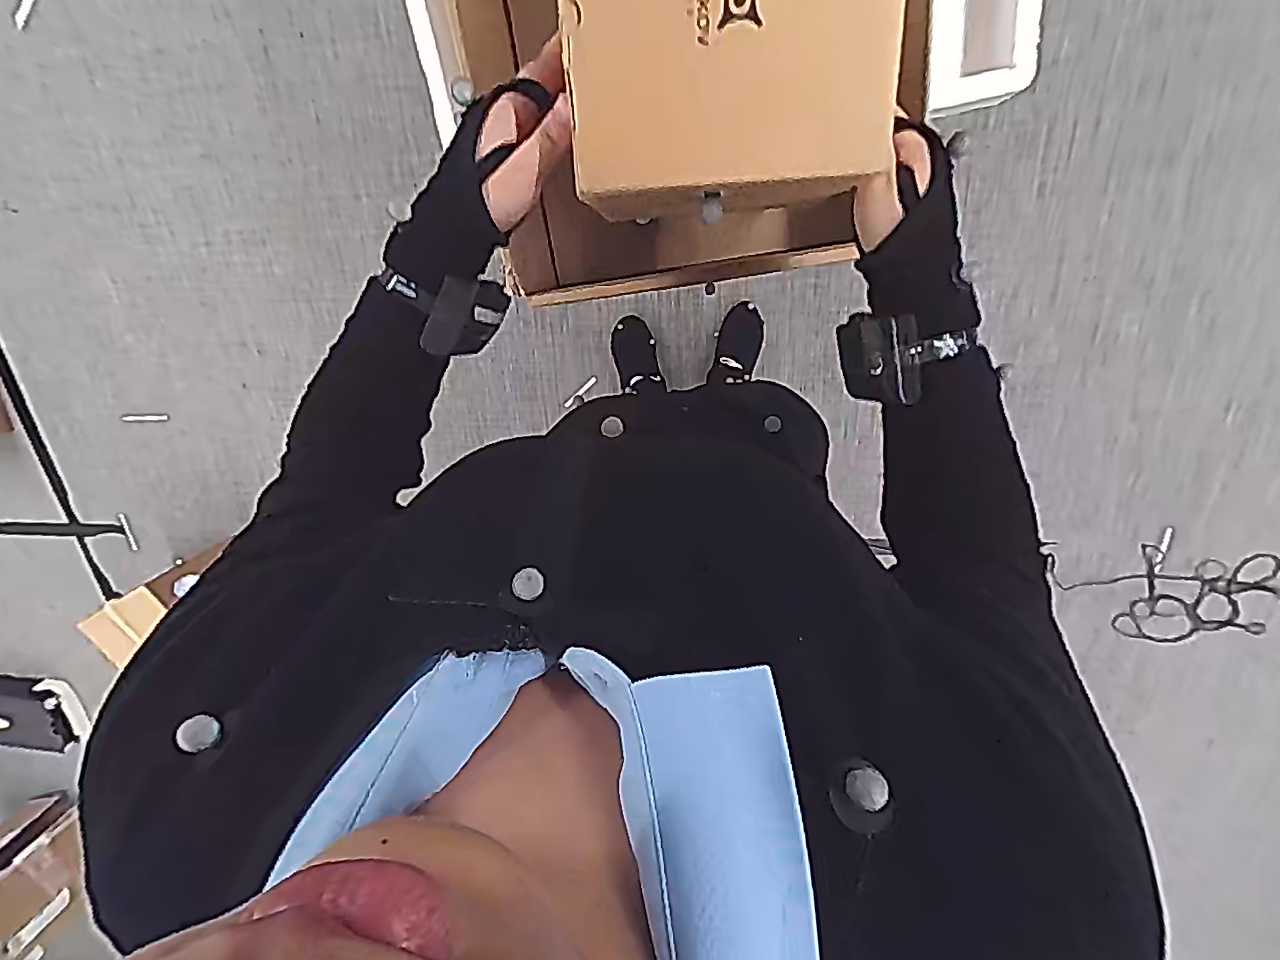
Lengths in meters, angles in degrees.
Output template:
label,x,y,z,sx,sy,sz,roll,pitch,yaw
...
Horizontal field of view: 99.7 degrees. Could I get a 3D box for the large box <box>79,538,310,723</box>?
label,x,y,z,sx,sy,sz,roll,pitch,yaw
large box,-1.367,0.462,1.698,0.320,0.320,0.408,-26,106,16
